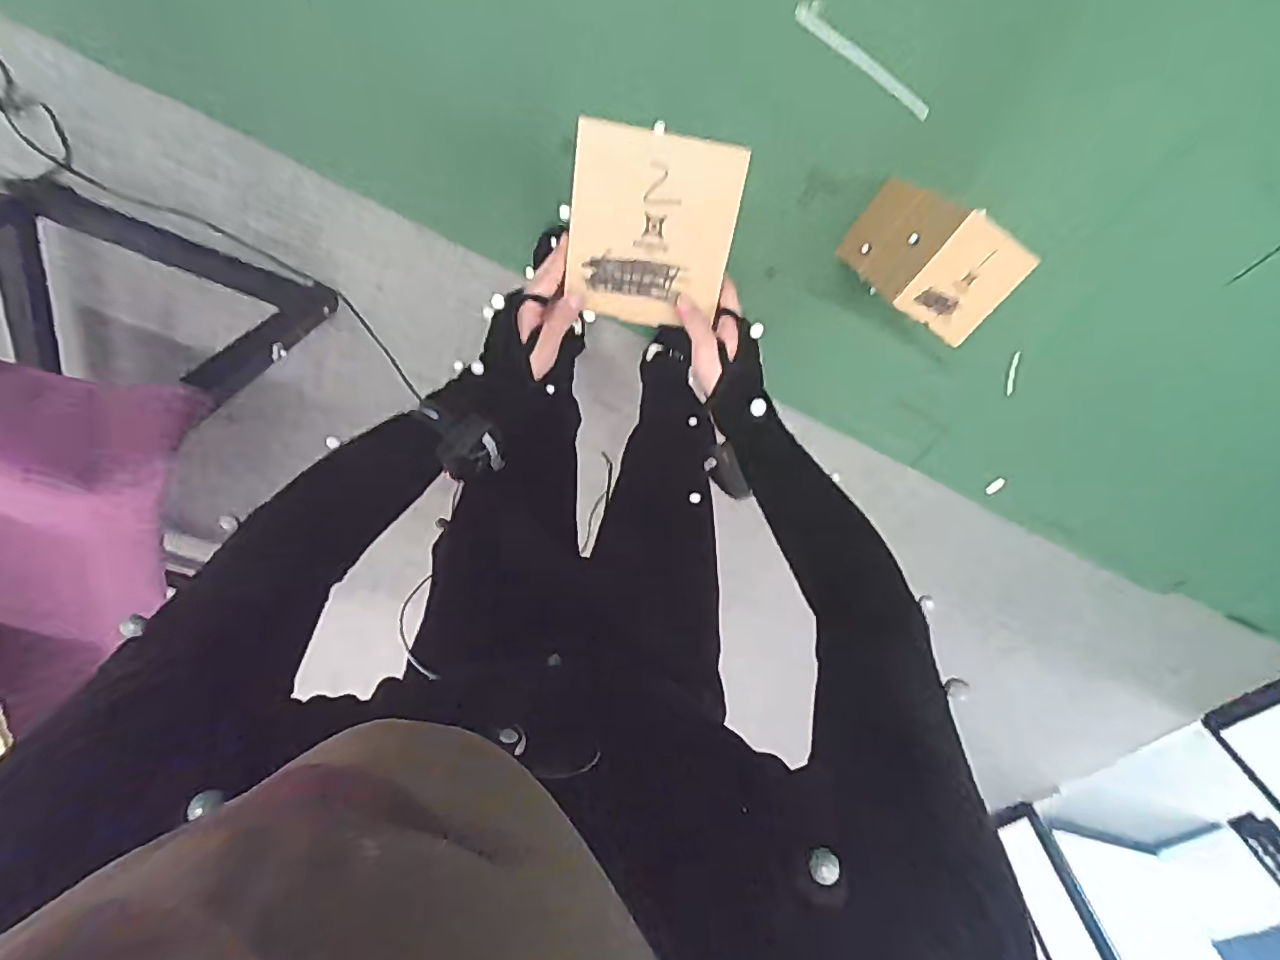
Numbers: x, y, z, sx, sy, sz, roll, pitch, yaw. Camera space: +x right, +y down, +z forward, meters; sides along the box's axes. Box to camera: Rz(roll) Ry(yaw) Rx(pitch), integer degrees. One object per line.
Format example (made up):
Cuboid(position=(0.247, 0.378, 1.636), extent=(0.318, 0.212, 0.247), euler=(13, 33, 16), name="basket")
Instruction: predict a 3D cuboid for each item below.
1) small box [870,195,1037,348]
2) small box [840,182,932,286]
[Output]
Cuboid(position=(0.543, -0.376, 0.971), extent=(0.168, 0.176, 0.179), euler=(24, 123, -19), name="small box")
Cuboid(position=(0.540, -0.475, 1.101), extent=(0.168, 0.176, 0.179), euler=(23, 124, -18), name="small box")
